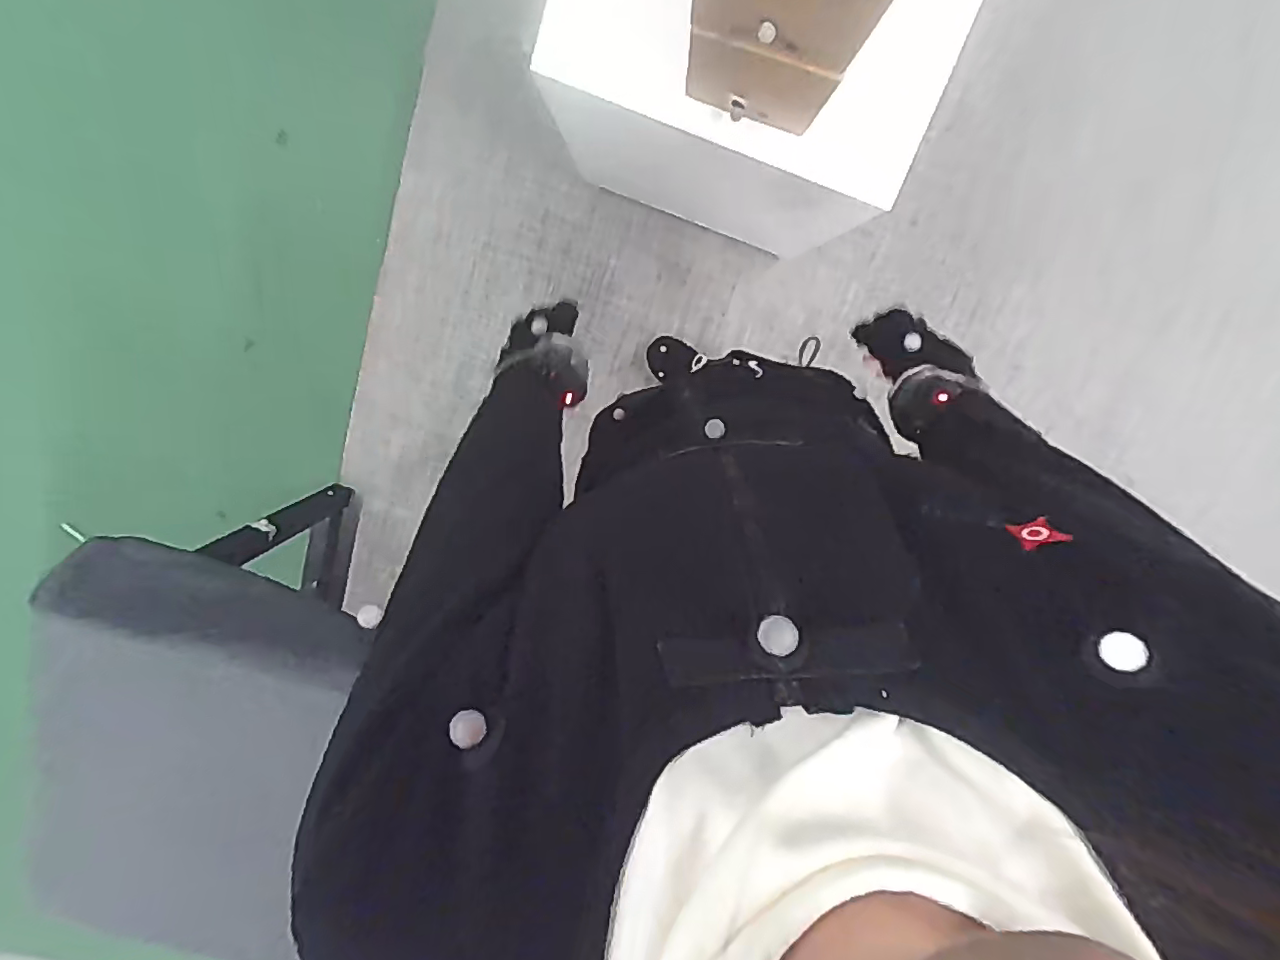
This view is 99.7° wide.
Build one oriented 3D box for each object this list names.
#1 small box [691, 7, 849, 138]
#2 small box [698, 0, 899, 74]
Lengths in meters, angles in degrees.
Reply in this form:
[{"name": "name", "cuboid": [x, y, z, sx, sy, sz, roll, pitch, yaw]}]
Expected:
[{"name": "small box", "cuboid": [0.157, -0.520, 0.598, 0.168, 0.176, 0.179, 17, 107, -1]}, {"name": "small box", "cuboid": [0.147, -0.484, 0.439, 0.168, 0.176, 0.179, 14, 104, 0]}]
